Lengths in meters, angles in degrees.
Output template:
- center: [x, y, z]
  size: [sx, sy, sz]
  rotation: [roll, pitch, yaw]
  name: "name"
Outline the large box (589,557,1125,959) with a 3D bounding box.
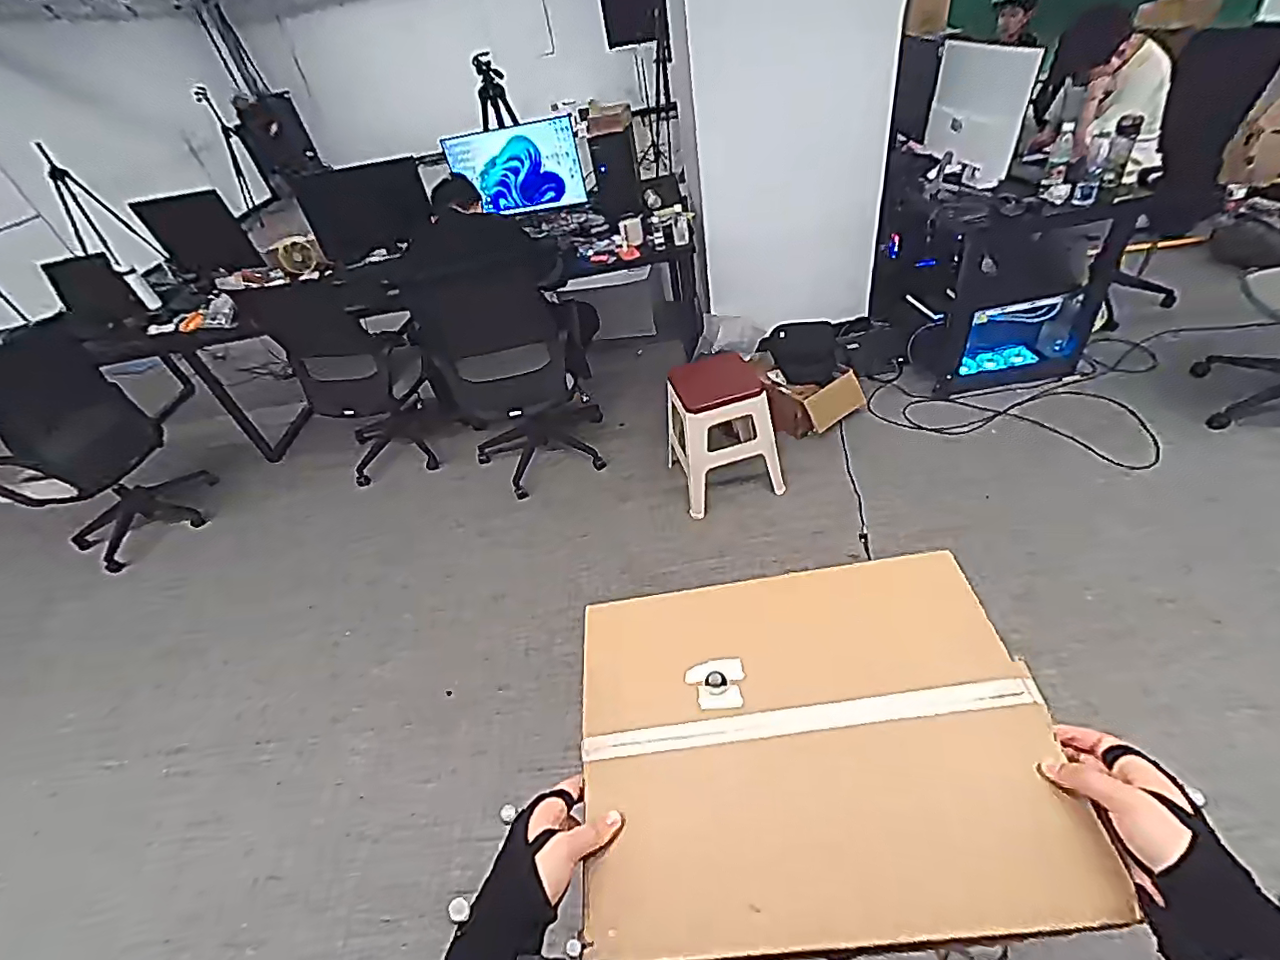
- center: [0.179, 0.332, 0.612]
  size: [0.408, 0.320, 0.320]
  rotation: [-12, 45, 7]
  name: "large box"
